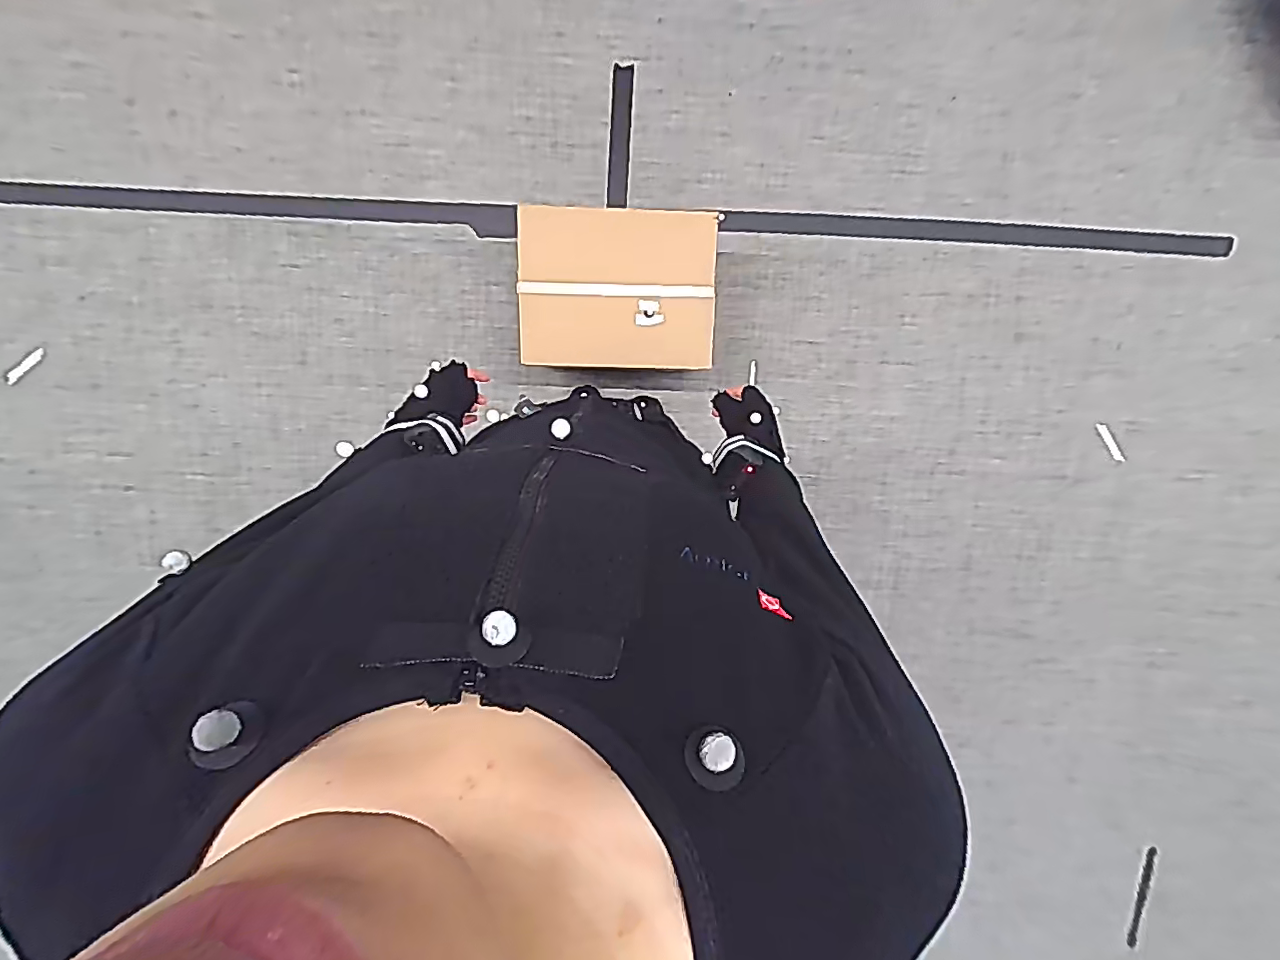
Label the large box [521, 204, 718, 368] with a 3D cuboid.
[{"bbox_3d":[-0.049,-0.423,1.255,0.408,0.320,0.320,1,101,-3],"label":"large box"}]
